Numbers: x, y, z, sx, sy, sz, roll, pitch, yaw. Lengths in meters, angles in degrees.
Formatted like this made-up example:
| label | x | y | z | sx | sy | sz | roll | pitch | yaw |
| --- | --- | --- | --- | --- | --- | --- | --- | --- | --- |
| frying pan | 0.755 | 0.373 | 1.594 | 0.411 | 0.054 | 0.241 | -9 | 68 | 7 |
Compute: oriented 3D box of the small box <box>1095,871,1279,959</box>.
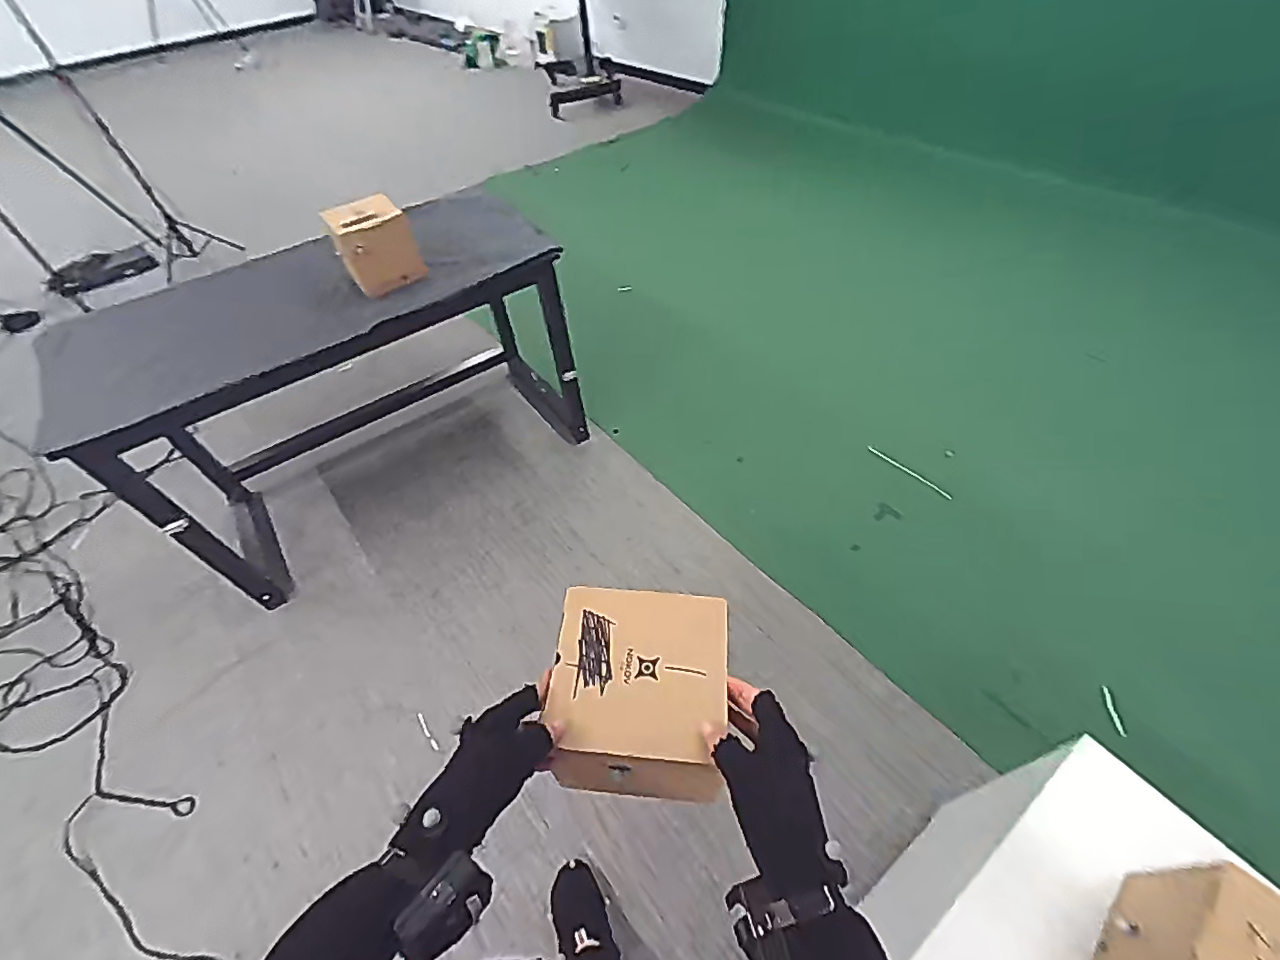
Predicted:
| label | x | y | z | sx | sy | sz | roll | pitch | yaw |
| --- | --- | --- | --- | --- | --- | --- | --- | --- | --- |
| small box | 0.593 | 0.524 | 0.521 | 0.168 | 0.176 | 0.179 | -38 | 57 | -25 |
